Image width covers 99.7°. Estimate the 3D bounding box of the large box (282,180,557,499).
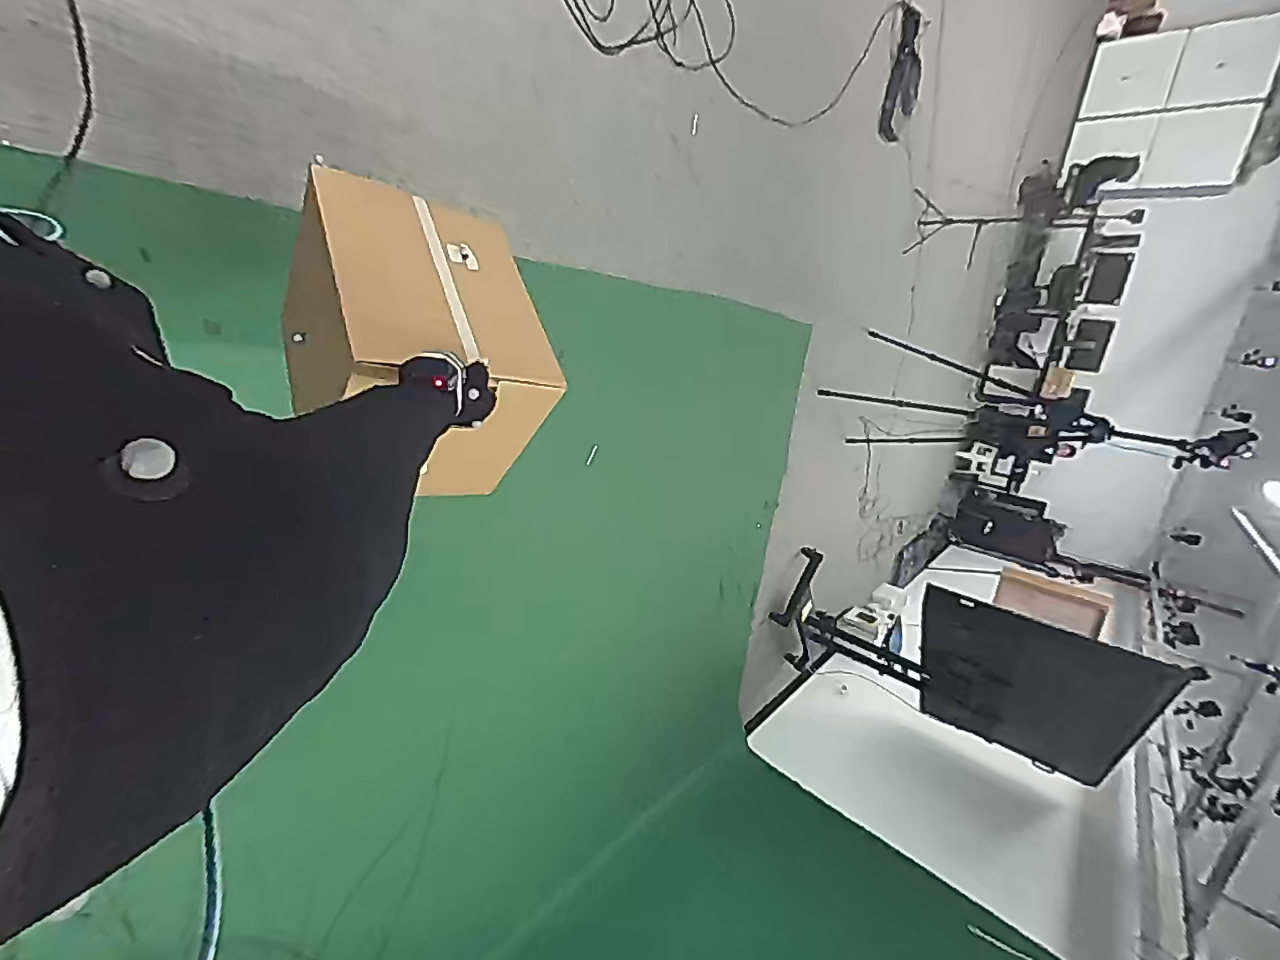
[{"bbox_3d":[-0.402,-0.216,0.940,0.320,0.408,0.320,1,144,-43],"label":"large box"}]
